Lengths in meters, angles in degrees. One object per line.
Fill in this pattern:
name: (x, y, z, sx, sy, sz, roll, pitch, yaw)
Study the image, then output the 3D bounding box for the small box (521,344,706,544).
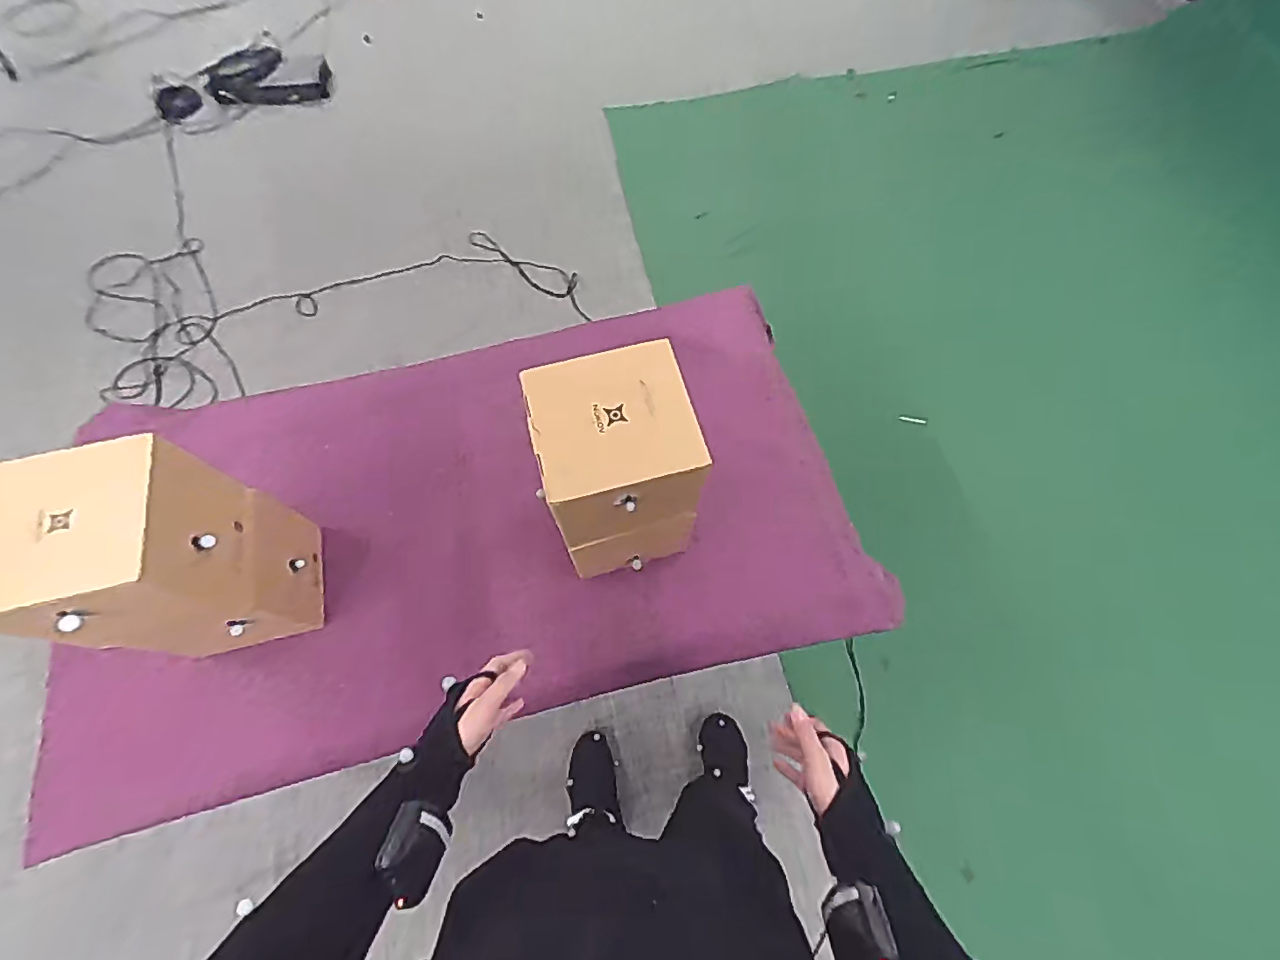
small box: (-0.030, -0.034, 0.658, 0.179, 0.176, 0.168, -14, 69, -5)

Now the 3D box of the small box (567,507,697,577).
small box: (-0.029, 0.031, 0.808, 0.179, 0.176, 0.168, -15, 66, -6)

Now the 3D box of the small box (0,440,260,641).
small box: (-0.572, 0.077, 0.618, 0.179, 0.176, 0.168, -14, 68, -5)

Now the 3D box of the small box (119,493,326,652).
small box: (-0.572, 0.137, 0.769, 0.179, 0.176, 0.168, -13, 67, -5)
